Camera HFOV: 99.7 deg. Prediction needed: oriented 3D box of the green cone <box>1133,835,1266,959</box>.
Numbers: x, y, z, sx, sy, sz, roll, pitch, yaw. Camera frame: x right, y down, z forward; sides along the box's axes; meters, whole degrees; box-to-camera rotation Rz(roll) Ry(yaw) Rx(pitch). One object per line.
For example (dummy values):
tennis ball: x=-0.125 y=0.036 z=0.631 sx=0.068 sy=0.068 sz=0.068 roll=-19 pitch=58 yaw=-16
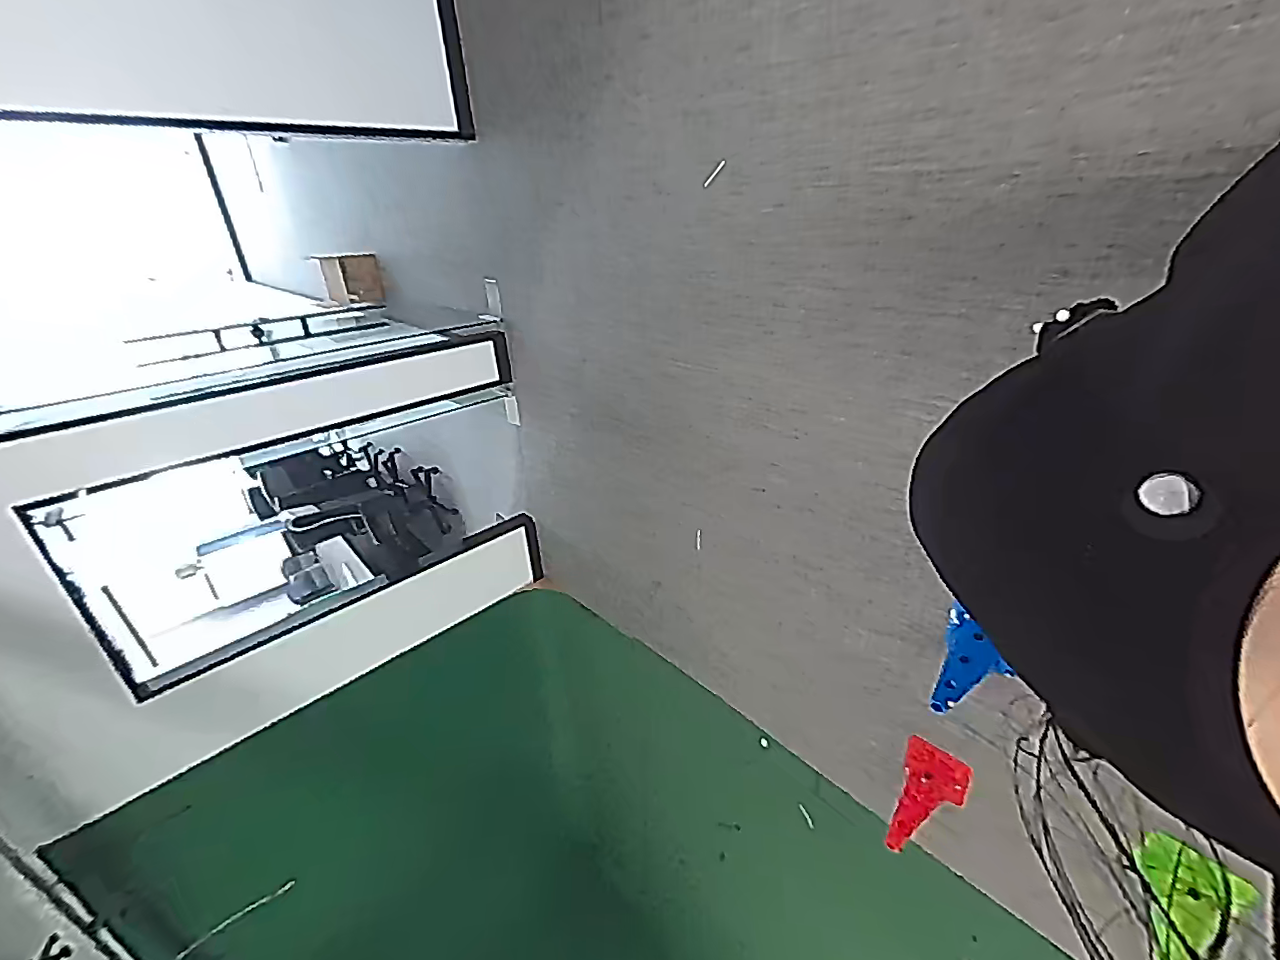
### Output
green cone: x=1.304 y=1.094 z=1.287 sx=0.200 sy=0.368 sz=0.202 roll=26 pitch=128 yaw=40
